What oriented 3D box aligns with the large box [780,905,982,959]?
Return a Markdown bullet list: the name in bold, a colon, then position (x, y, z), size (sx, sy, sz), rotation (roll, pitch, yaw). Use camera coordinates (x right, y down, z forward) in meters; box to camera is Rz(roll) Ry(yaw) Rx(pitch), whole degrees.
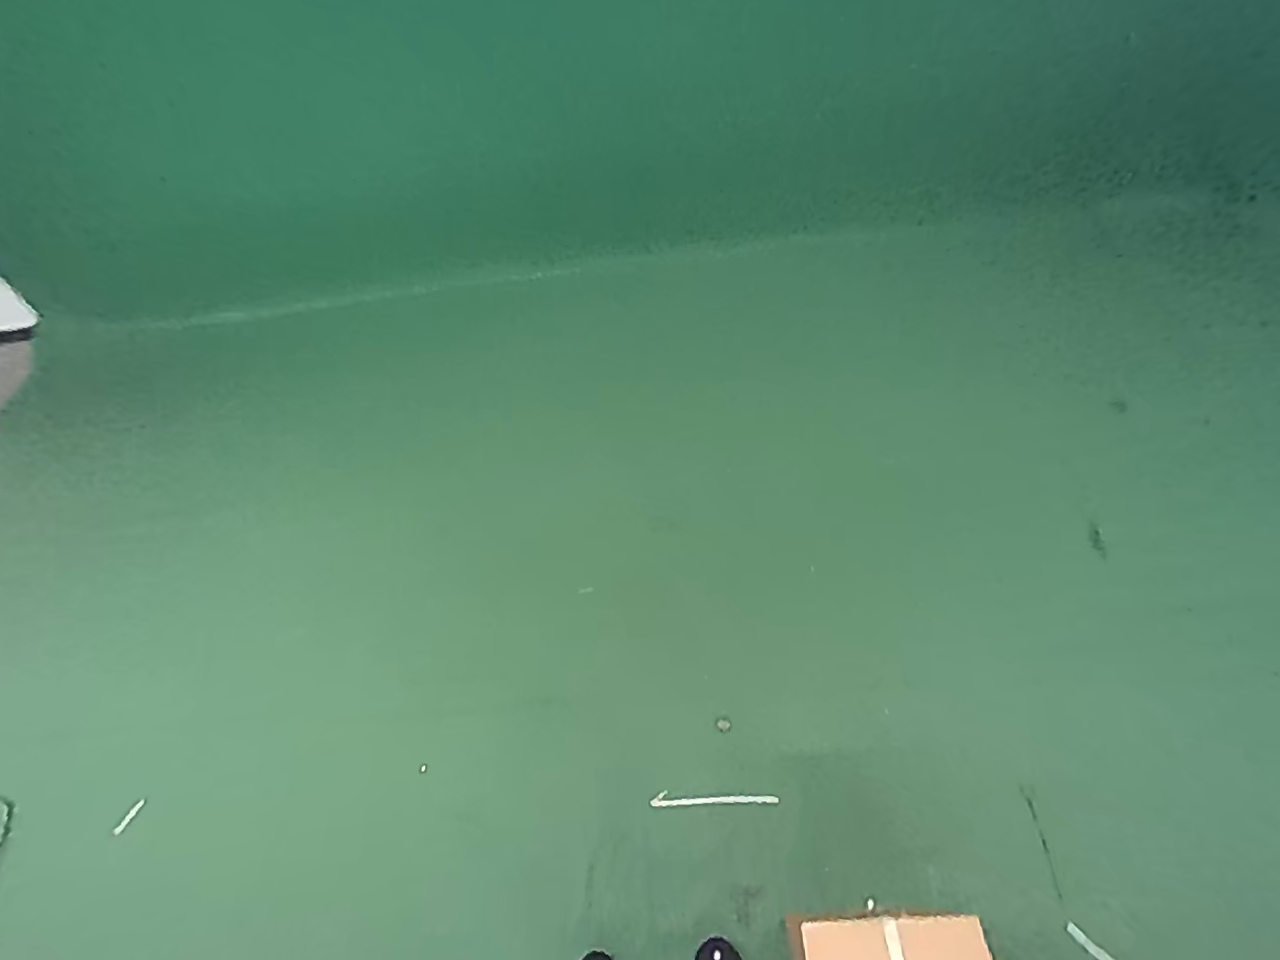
- **large box**: position (0.459, 1.041, 0.979), size (0.320, 0.320, 0.408), rotation (-6, 54, 4)
